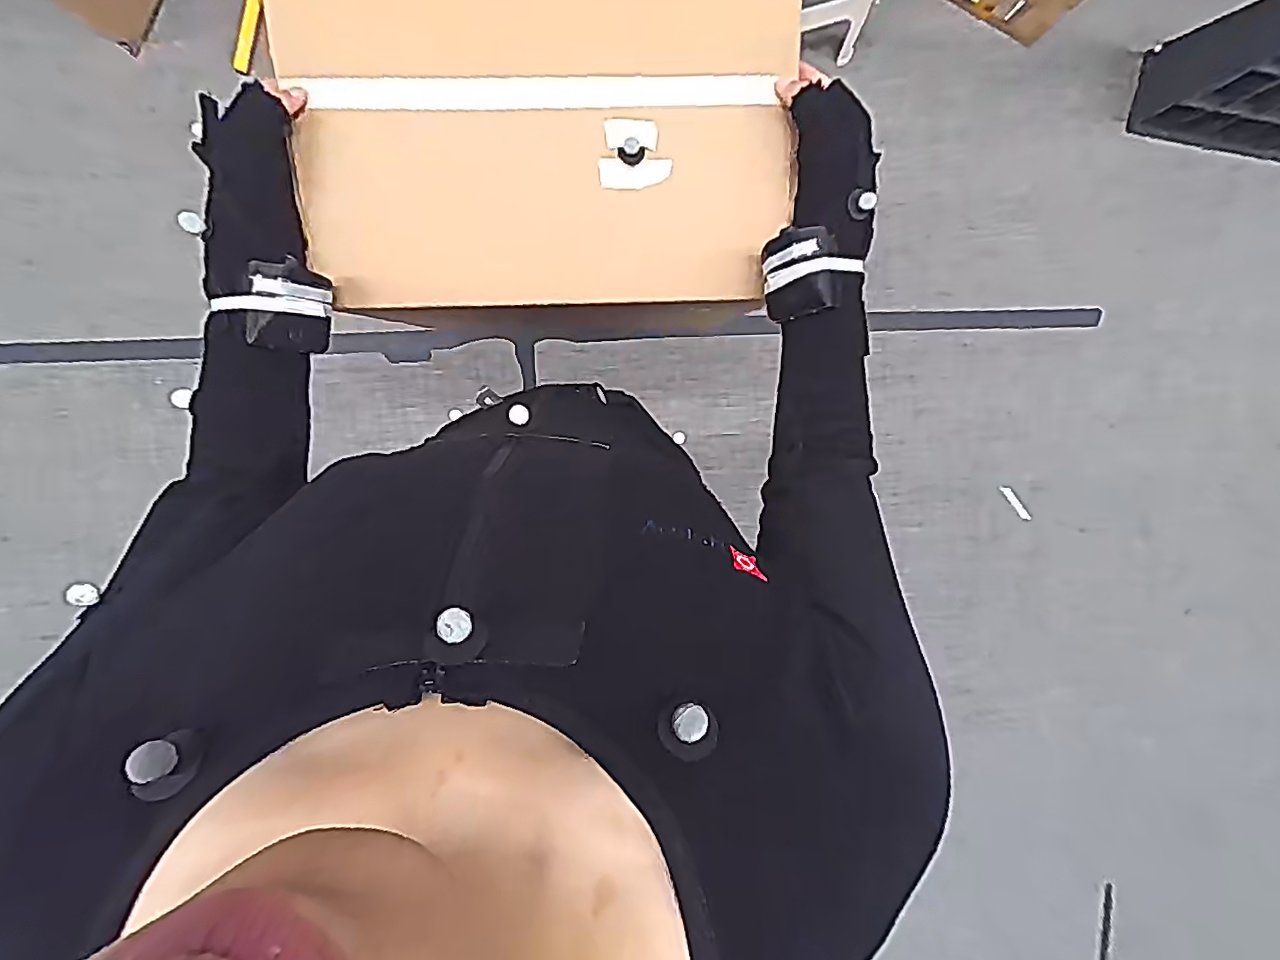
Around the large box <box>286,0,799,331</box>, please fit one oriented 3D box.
[{"bbox_3d":[-0.080,-0.336,0.579,0.408,0.320,0.320,-2,102,-4],"label":"large box"}]
